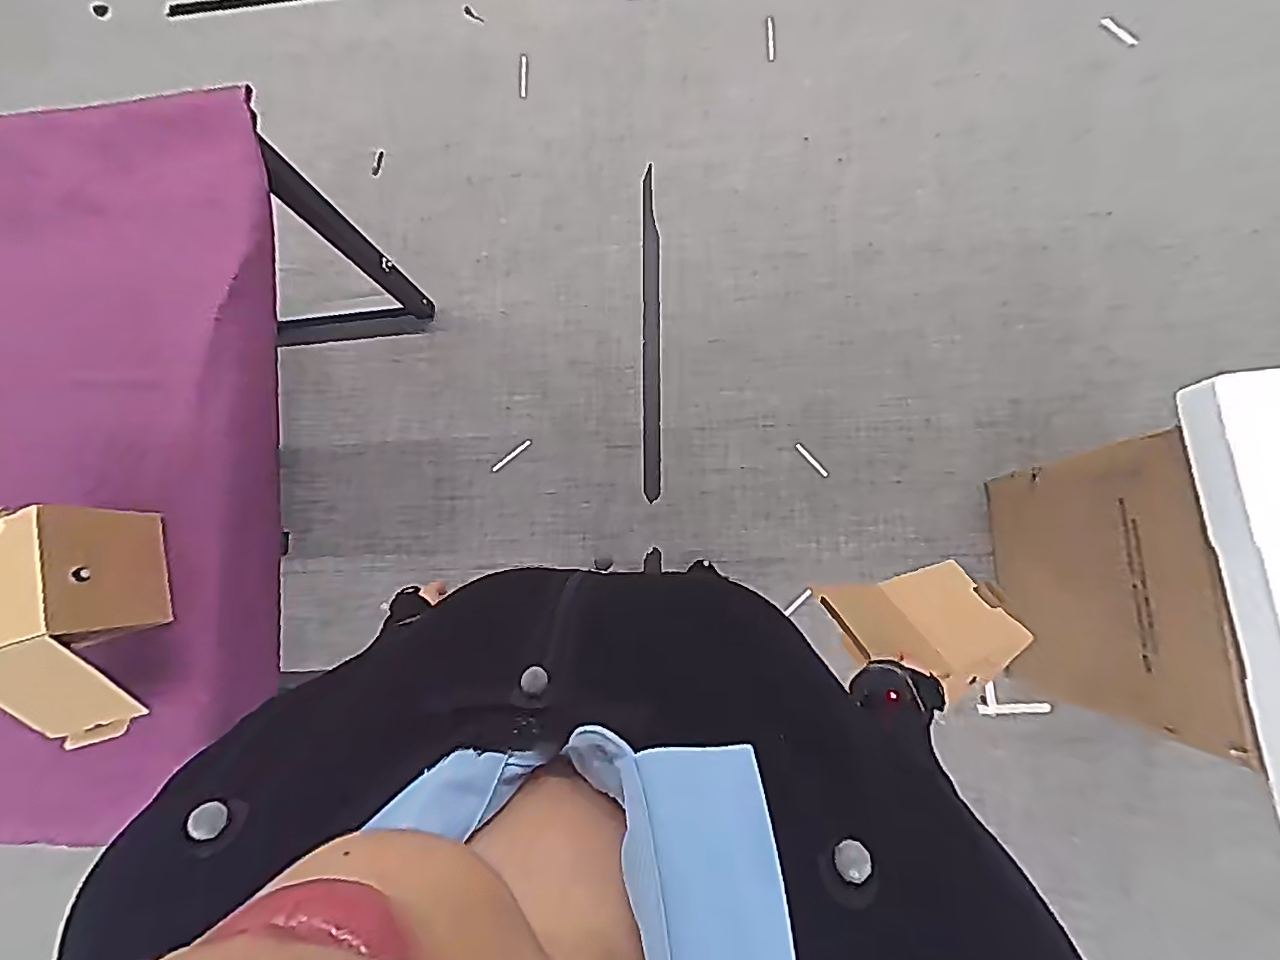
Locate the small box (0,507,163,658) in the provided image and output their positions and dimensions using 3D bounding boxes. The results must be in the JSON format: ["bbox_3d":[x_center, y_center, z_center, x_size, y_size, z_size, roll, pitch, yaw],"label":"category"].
[{"bbox_3d":[-0.832,0.147,0.772,0.168,0.176,0.179,-16,80,4],"label":"small box"}]
